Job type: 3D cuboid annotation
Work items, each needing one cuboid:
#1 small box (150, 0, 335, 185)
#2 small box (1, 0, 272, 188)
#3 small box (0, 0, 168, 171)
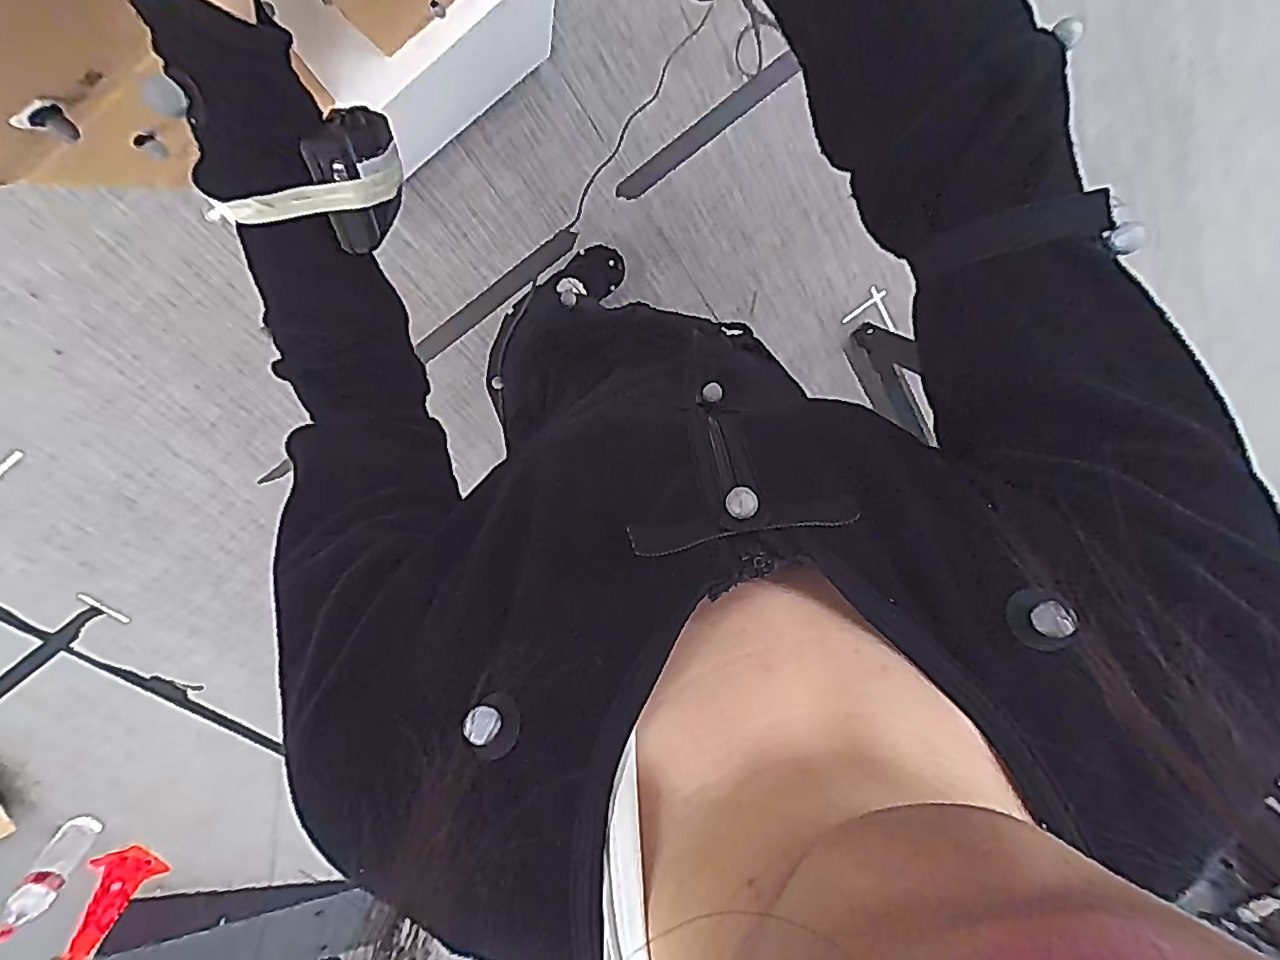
[{"bbox_3d":[-0.455,-0.423,0.540,0.168,0.176,0.179,-34,117,9],"label":"small box"},{"bbox_3d":[-0.427,-0.348,0.399,0.168,0.176,0.179,-36,117,9],"label":"small box"},{"bbox_3d":[-0.401,-0.275,0.256,0.168,0.176,0.179,-36,118,10],"label":"small box"}]
